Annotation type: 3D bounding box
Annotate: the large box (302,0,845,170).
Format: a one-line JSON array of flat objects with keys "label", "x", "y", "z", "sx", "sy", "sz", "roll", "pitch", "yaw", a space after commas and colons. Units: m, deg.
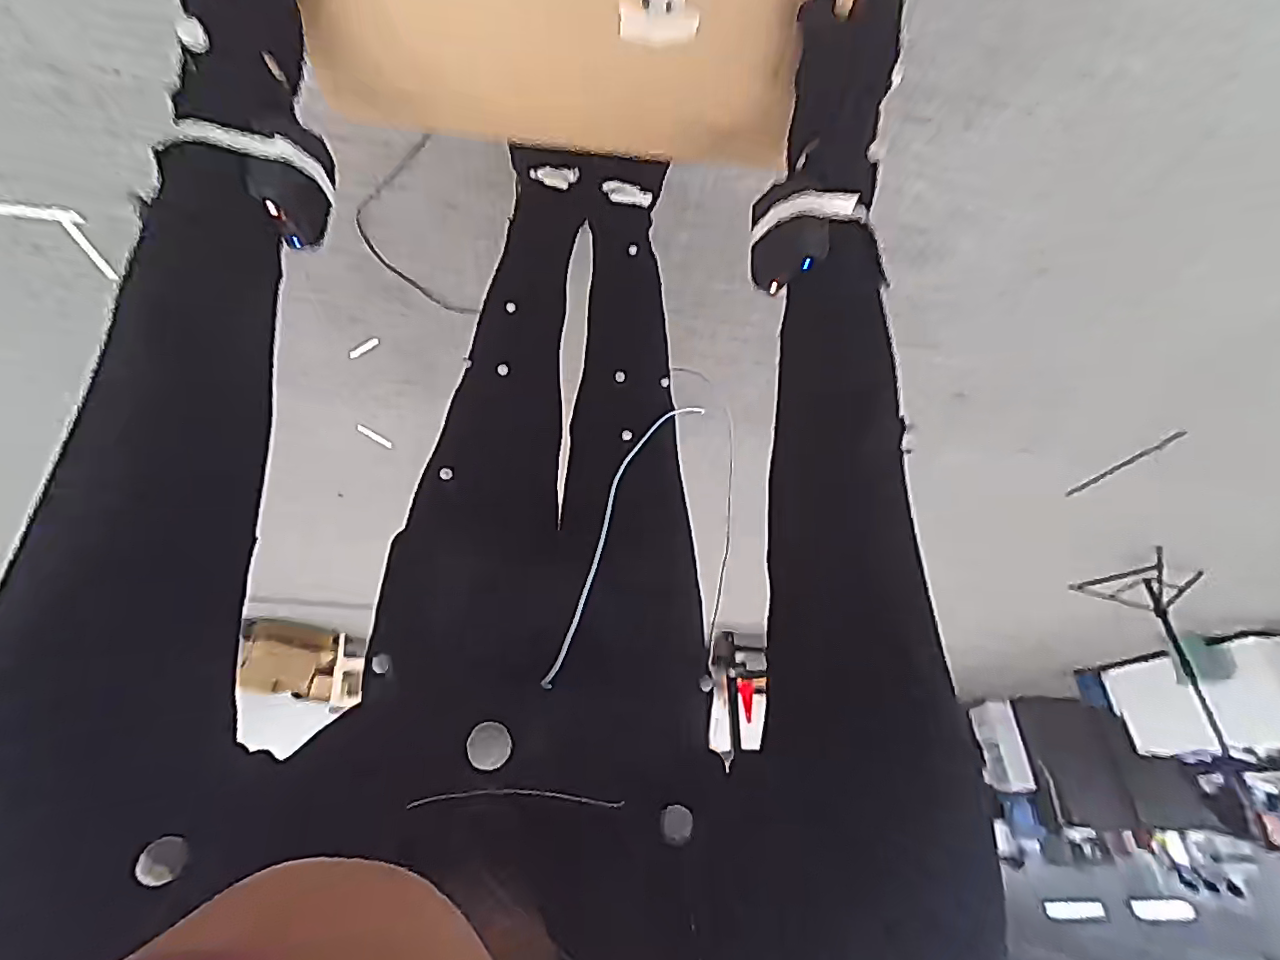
[{"label": "large box", "x": -0.045, "y": -0.501, "z": 0.433, "sx": 0.408, "sy": 0.320, "sz": 0.320, "roll": 4, "pitch": 150, "yaw": -4}]
